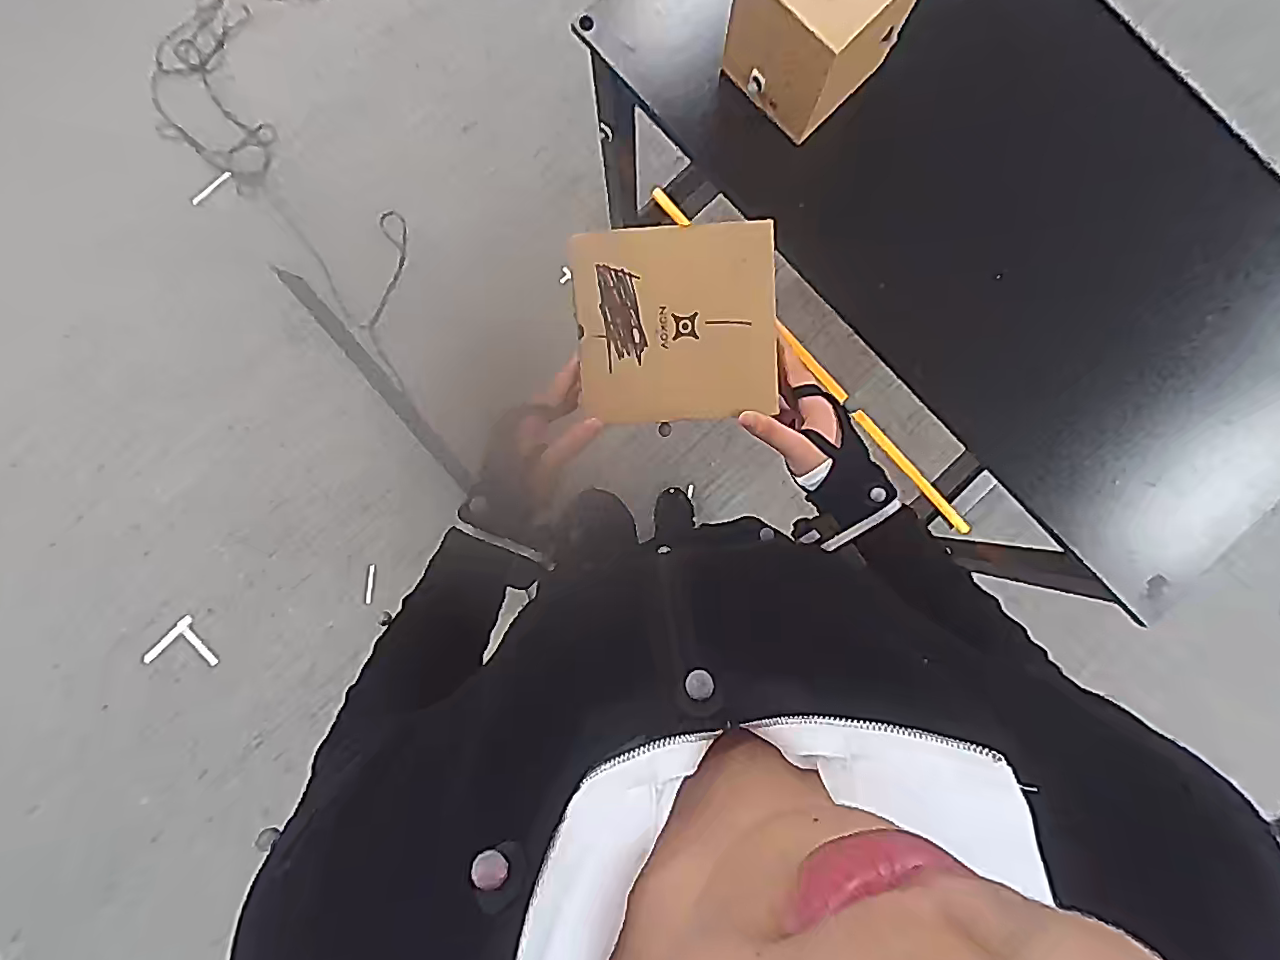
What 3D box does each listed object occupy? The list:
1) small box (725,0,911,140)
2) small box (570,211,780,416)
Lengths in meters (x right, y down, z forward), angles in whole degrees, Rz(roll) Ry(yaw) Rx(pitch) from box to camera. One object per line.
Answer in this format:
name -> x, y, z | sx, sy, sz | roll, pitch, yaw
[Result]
small box -> 0.232, -0.612, 0.718 | 0.168, 0.176, 0.179 | 44, 90, 2
small box -> 0.032, -0.151, 0.543 | 0.179, 0.176, 0.168 | -3, 97, 0
